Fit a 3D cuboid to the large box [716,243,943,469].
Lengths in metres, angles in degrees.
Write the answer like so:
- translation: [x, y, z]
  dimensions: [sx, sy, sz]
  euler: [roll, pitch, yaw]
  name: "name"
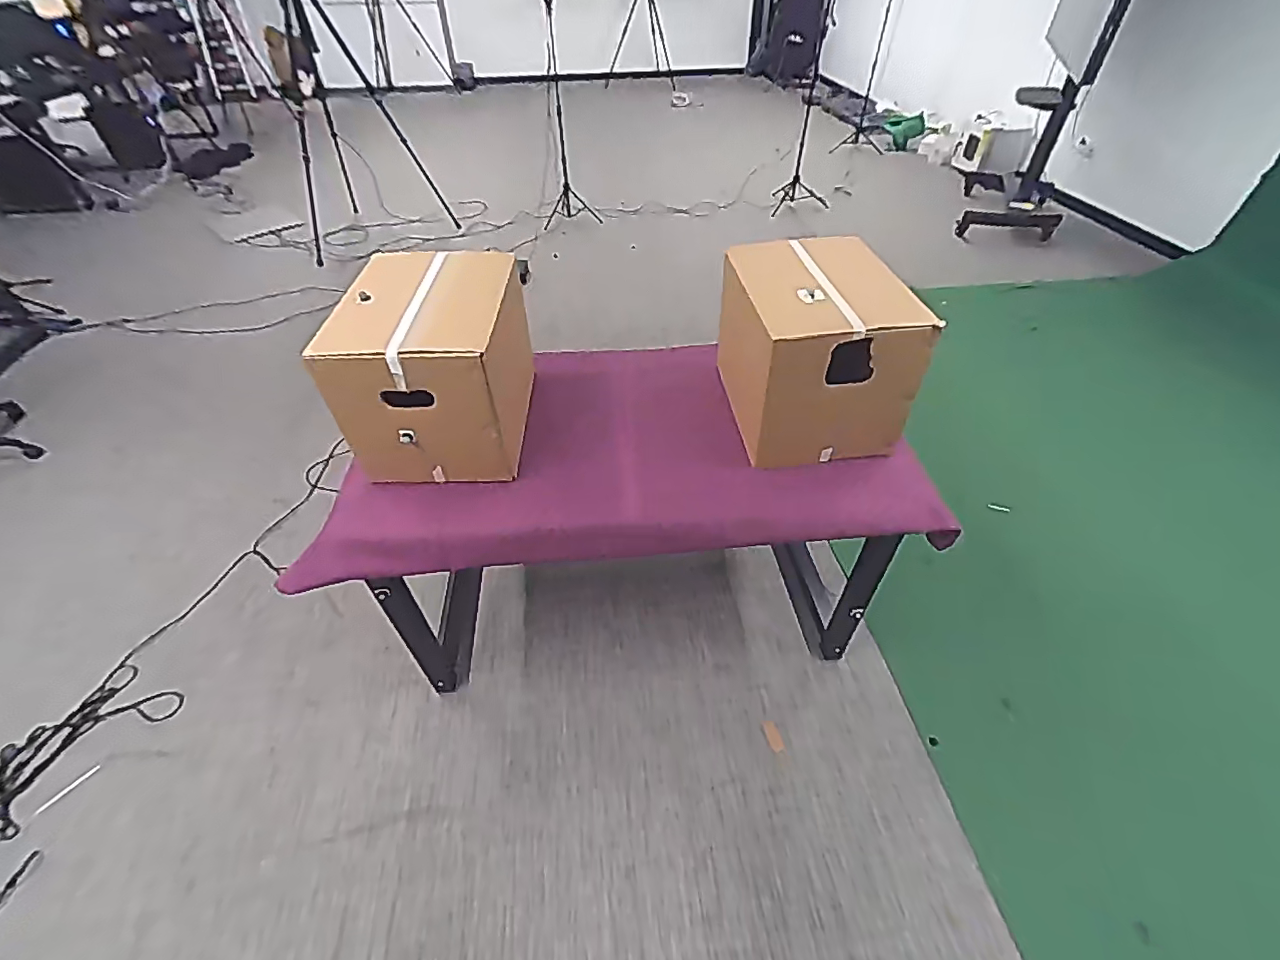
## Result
- translation: [0.368, -0.281, 1.190]
  dimensions: [0.320, 0.320, 0.408]
  euler: [-6, 46, -2]
  name: "large box"
